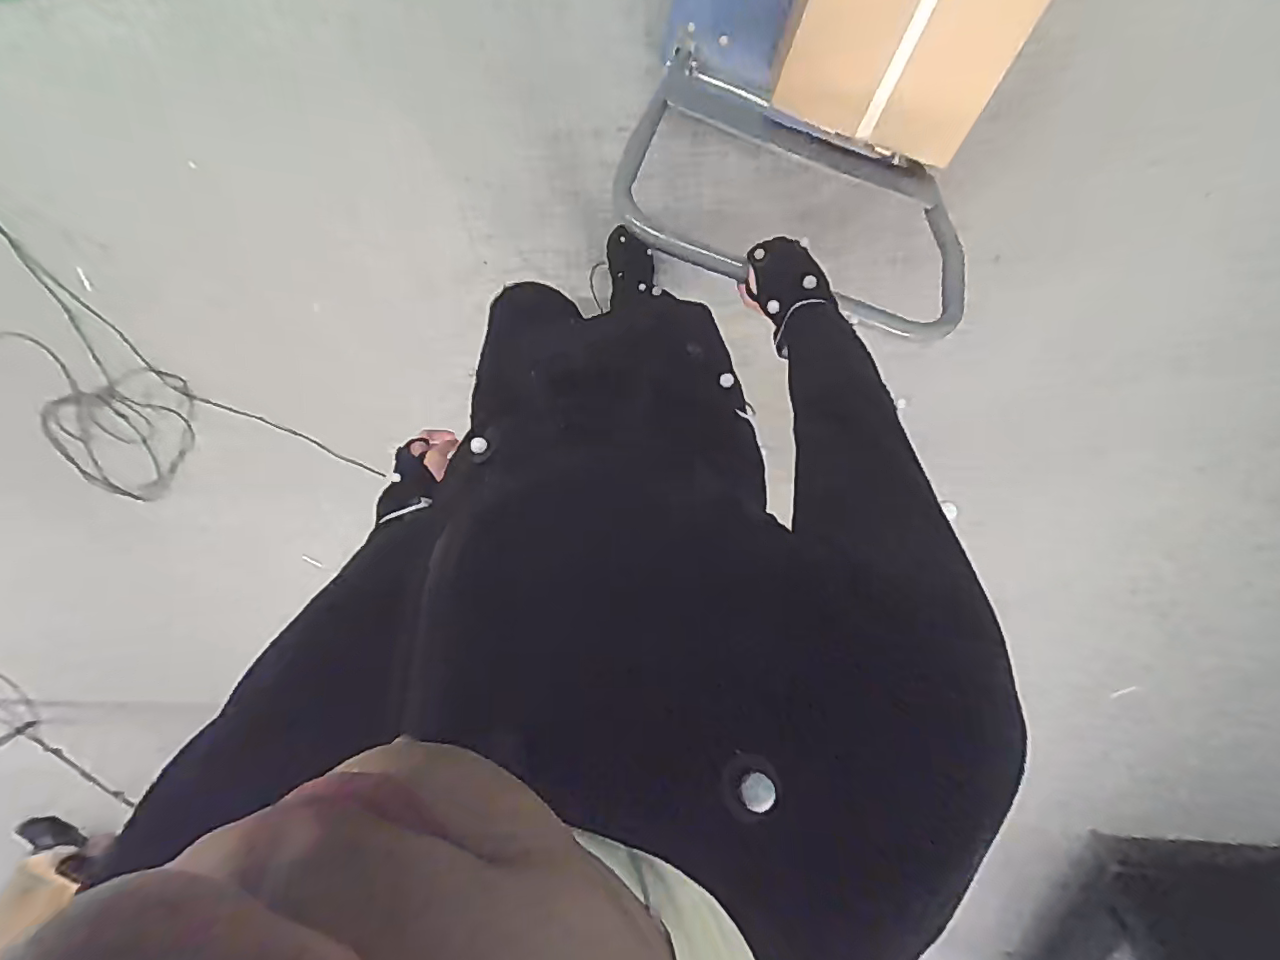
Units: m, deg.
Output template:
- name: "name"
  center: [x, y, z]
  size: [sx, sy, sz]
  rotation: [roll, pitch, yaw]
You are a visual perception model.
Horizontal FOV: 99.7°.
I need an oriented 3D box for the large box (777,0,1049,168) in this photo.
- name: "large box"
  center: [0.440, -0.793, 0.858]
  size: [0.320, 0.320, 0.408]
  rotation: [18, 135, -4]
